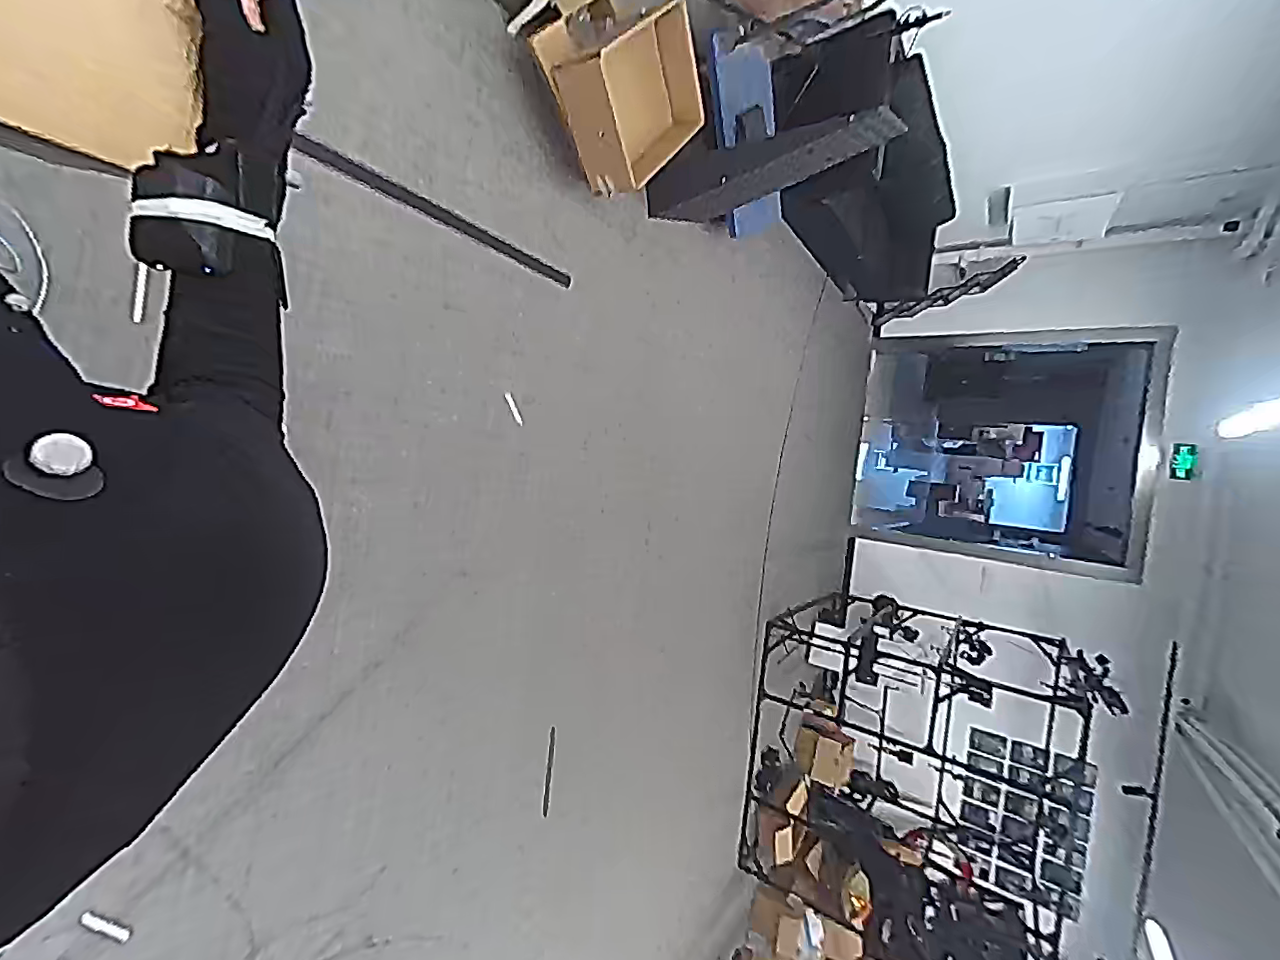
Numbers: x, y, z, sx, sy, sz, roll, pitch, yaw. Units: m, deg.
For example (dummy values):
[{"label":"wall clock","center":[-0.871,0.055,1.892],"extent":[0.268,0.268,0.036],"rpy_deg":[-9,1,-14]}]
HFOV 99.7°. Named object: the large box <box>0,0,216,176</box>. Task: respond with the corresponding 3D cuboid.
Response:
[{"label":"large box","center":[-0.517,-0.415,0.282],"extent":[0.408,0.320,0.320],"rpy_deg":[-1,112,-59]}]
